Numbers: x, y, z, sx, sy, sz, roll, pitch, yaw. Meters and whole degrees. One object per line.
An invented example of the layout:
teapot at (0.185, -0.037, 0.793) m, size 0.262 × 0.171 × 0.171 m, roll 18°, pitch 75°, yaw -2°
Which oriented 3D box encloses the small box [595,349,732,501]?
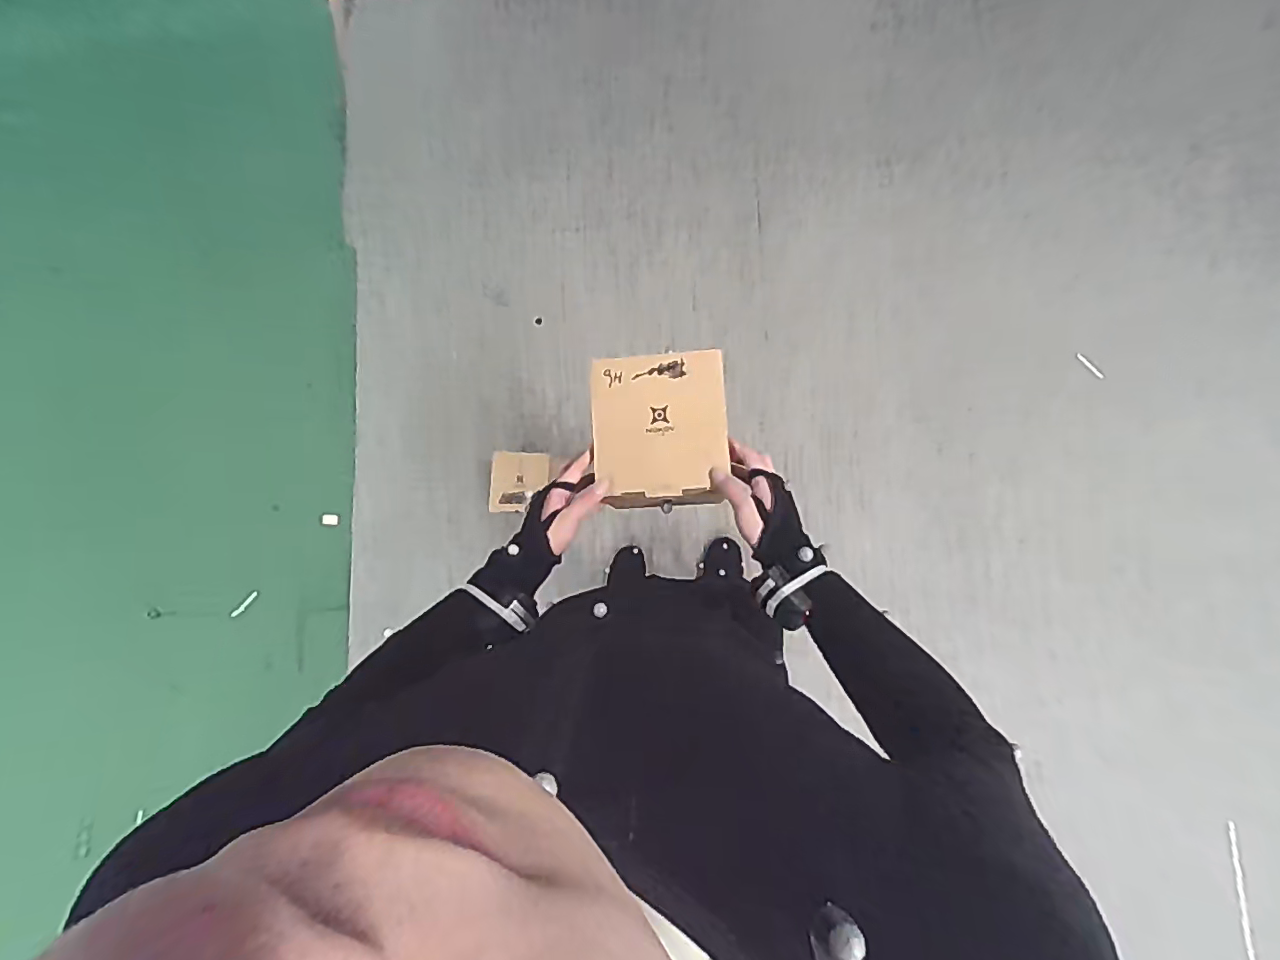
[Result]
small box at (0.036, -0.063, 0.740) m, size 0.168 × 0.176 × 0.179 m, roll -3°, pitch 83°, yaw 5°

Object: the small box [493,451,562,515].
small box at (-0.331, 0.013, 1.622) m, size 0.168 × 0.176 × 0.179 m, roll 3°, pitch 84°, yaw 2°
